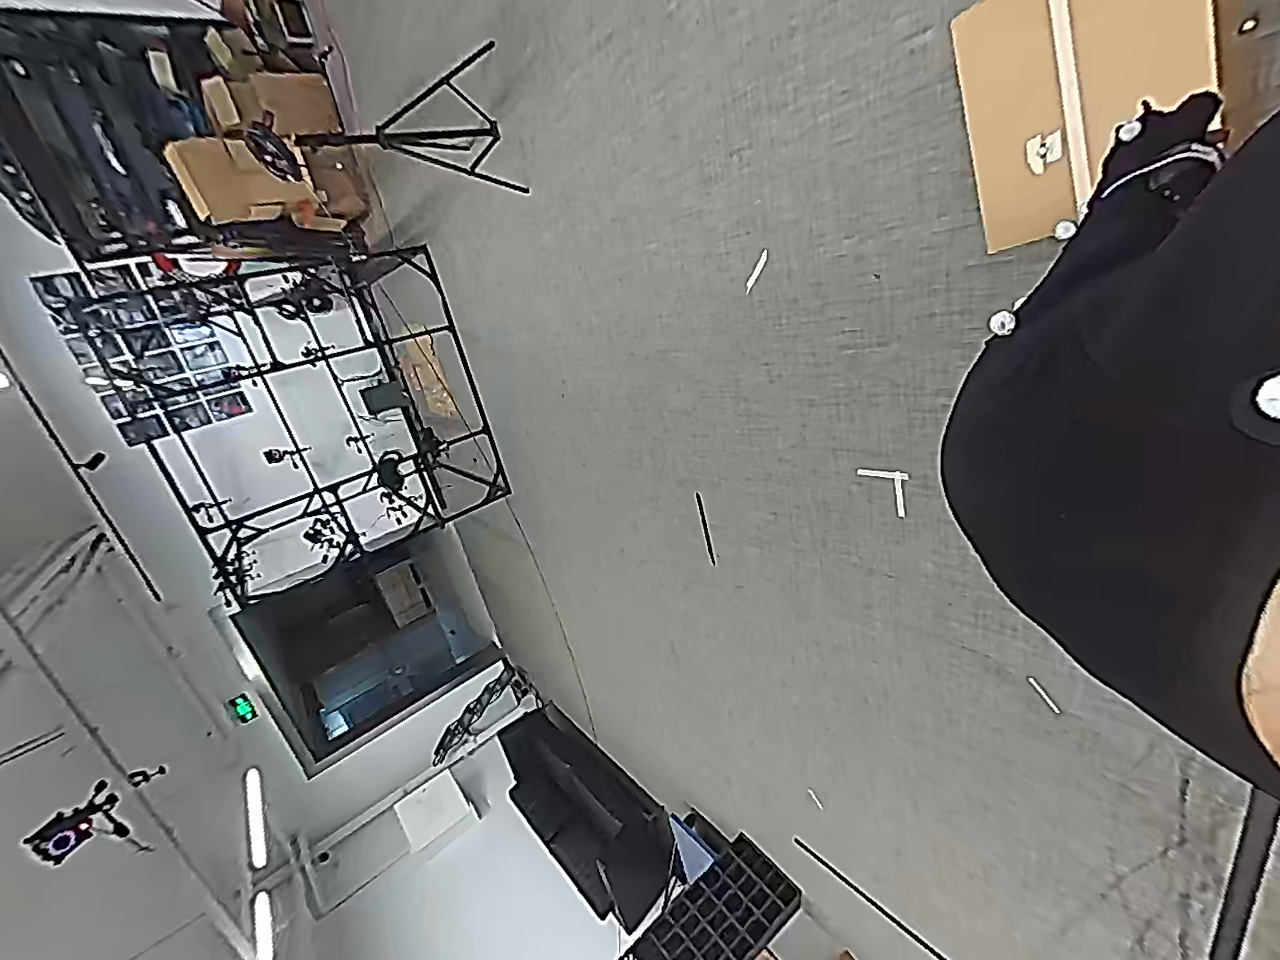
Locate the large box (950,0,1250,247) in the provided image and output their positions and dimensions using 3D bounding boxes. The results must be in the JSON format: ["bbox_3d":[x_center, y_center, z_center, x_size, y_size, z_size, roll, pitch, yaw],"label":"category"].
[{"bbox_3d":[0.808,-0.687,0.949,0.320,0.320,0.408,2,115,57],"label":"large box"}]
